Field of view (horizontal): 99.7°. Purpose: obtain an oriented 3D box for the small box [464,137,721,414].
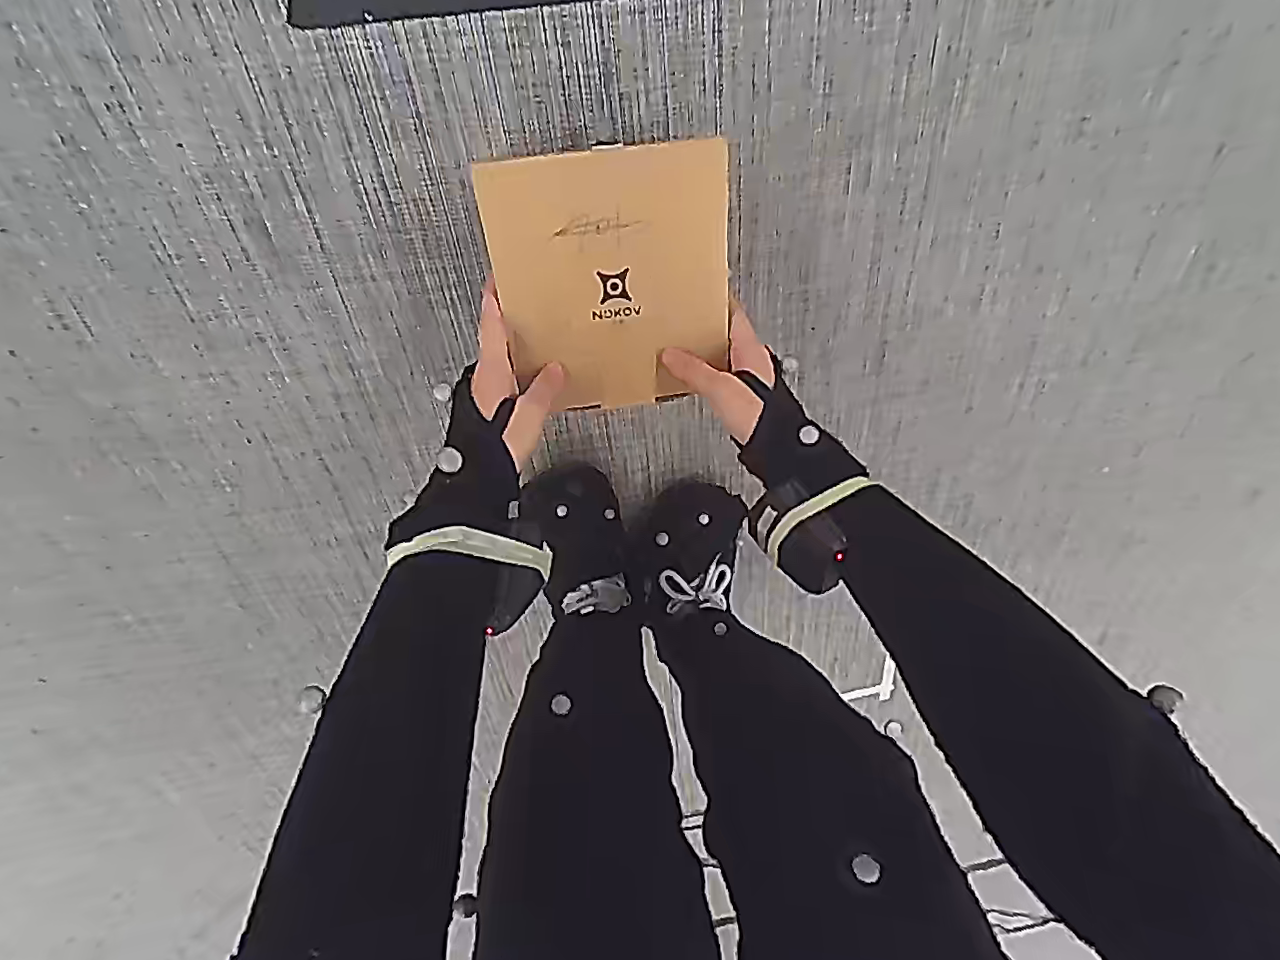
[{"bbox_3d":[-0.032,-0.177,0.453,0.168,0.176,0.179,-9,122,-3],"label":"small box"}]
